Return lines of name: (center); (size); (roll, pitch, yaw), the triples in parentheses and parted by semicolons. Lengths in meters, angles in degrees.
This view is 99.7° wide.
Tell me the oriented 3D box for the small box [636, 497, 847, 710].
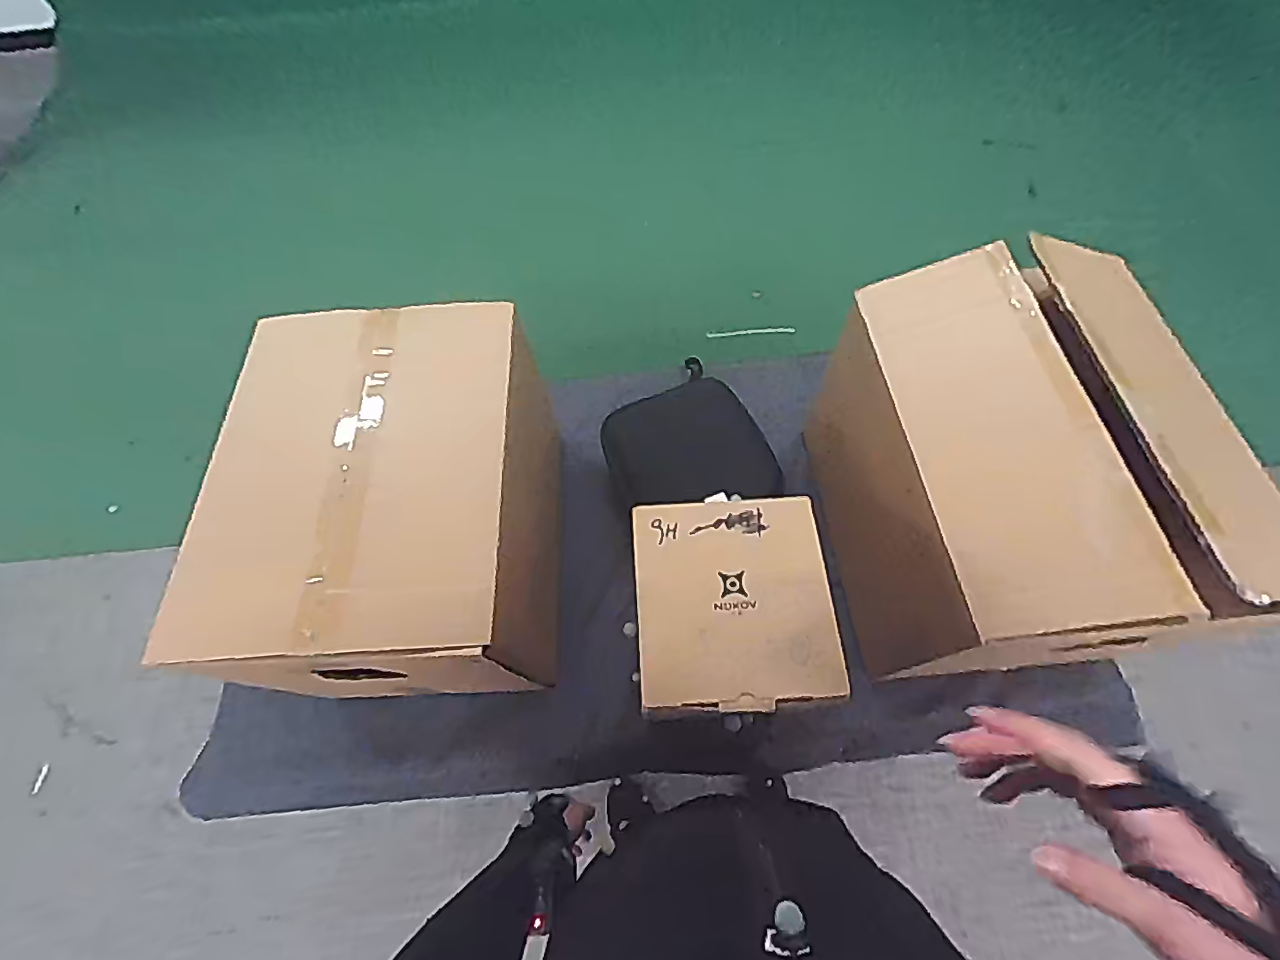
small box: (0.084, 0.131, 0.540); (0.168, 0.176, 0.179); (-3, 66, -1)
